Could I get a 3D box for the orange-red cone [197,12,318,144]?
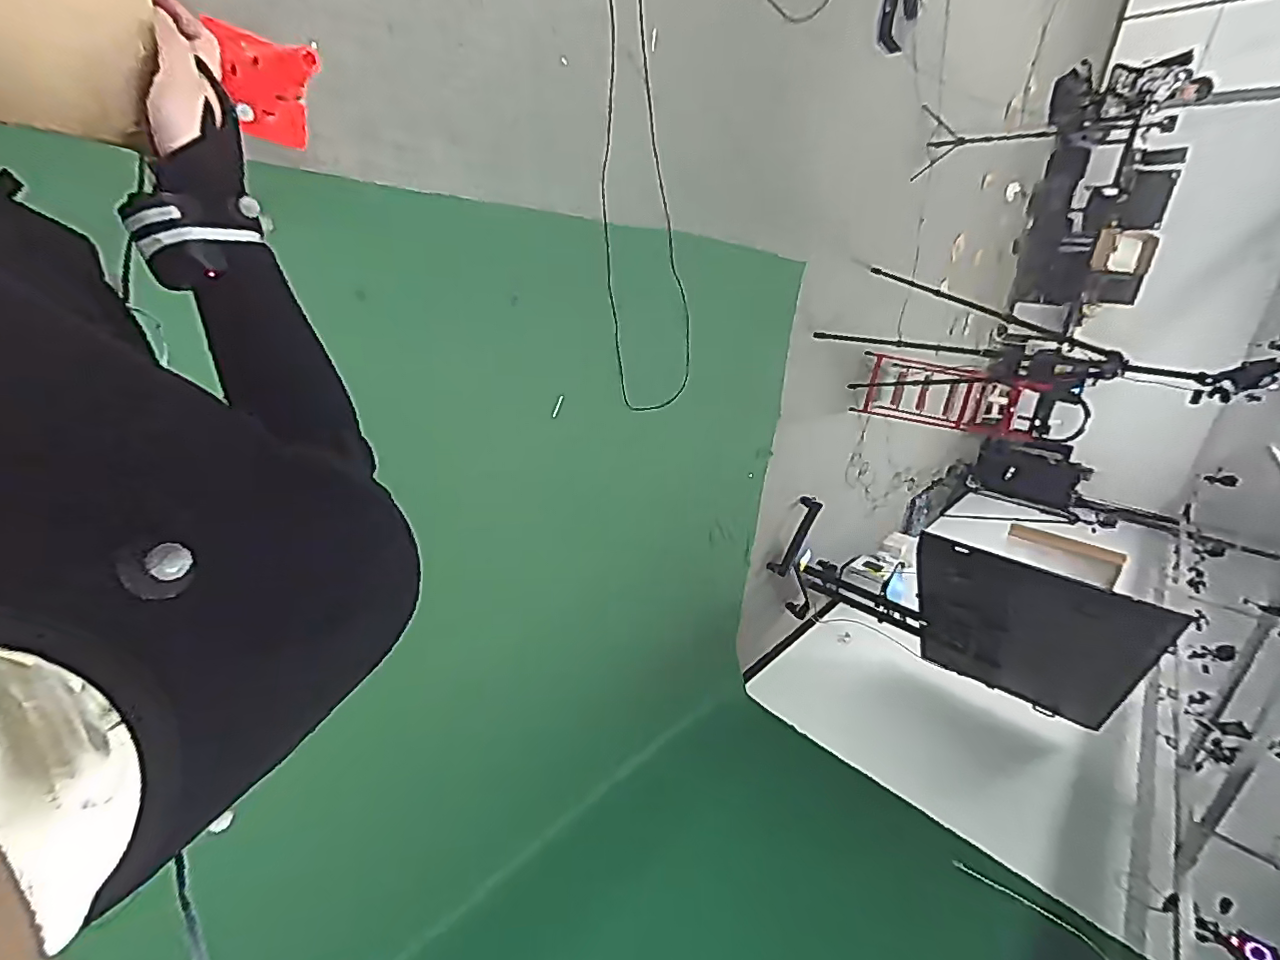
[{"bbox_3d":[-0.739,-0.833,1.102,0.199,0.360,0.198,-8,115,-49],"label":"orange-red cone"}]
